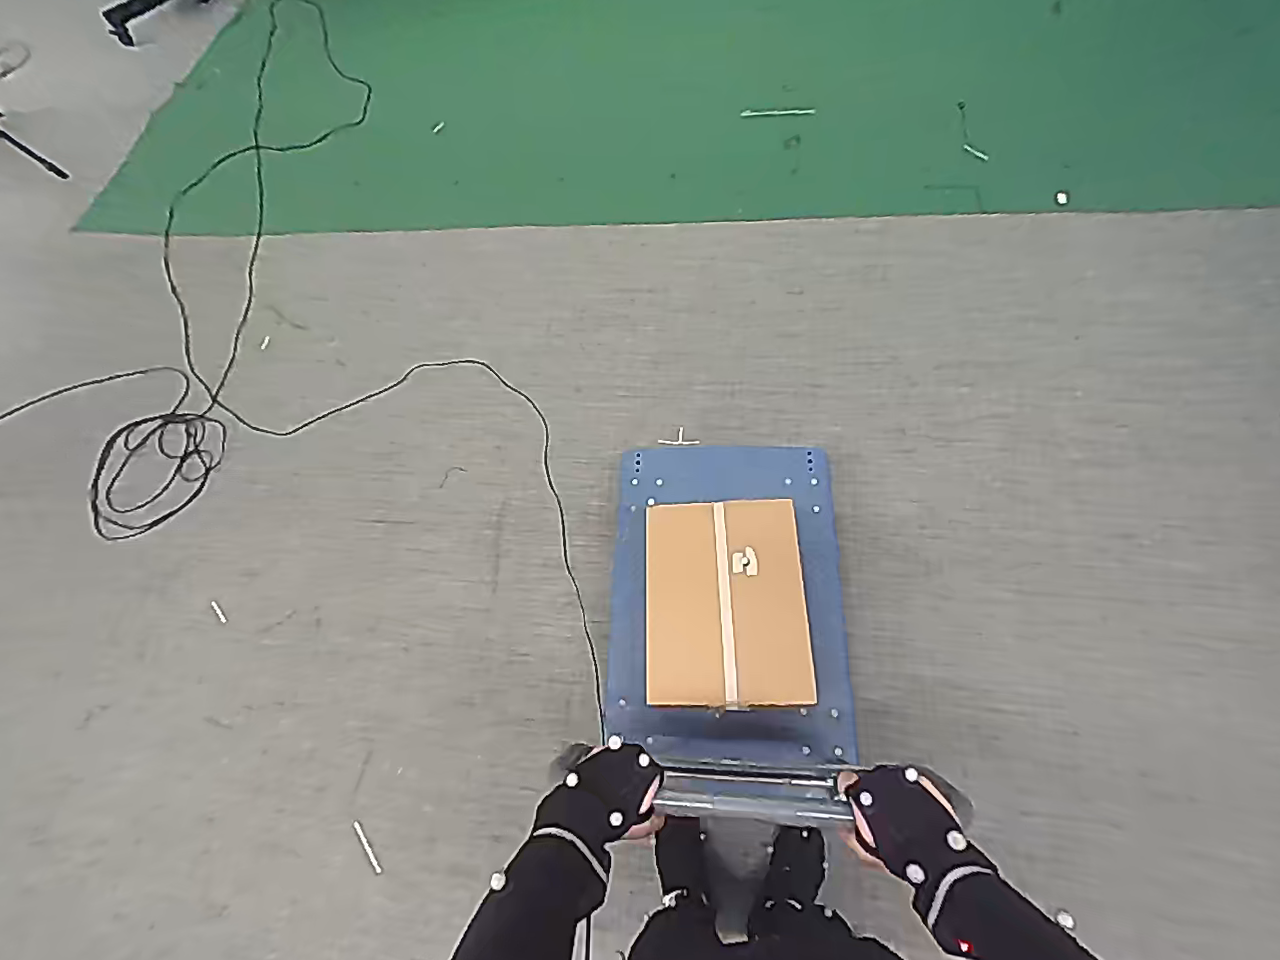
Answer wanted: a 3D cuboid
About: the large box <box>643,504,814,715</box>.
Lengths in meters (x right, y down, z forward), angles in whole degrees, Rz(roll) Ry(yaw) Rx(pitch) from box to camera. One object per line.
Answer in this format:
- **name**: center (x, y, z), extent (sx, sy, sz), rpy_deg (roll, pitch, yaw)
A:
- **large box**: center (0.182, 0.304, 1.216), extent (0.320, 0.320, 0.408), rpy_deg (-3, 65, 6)
